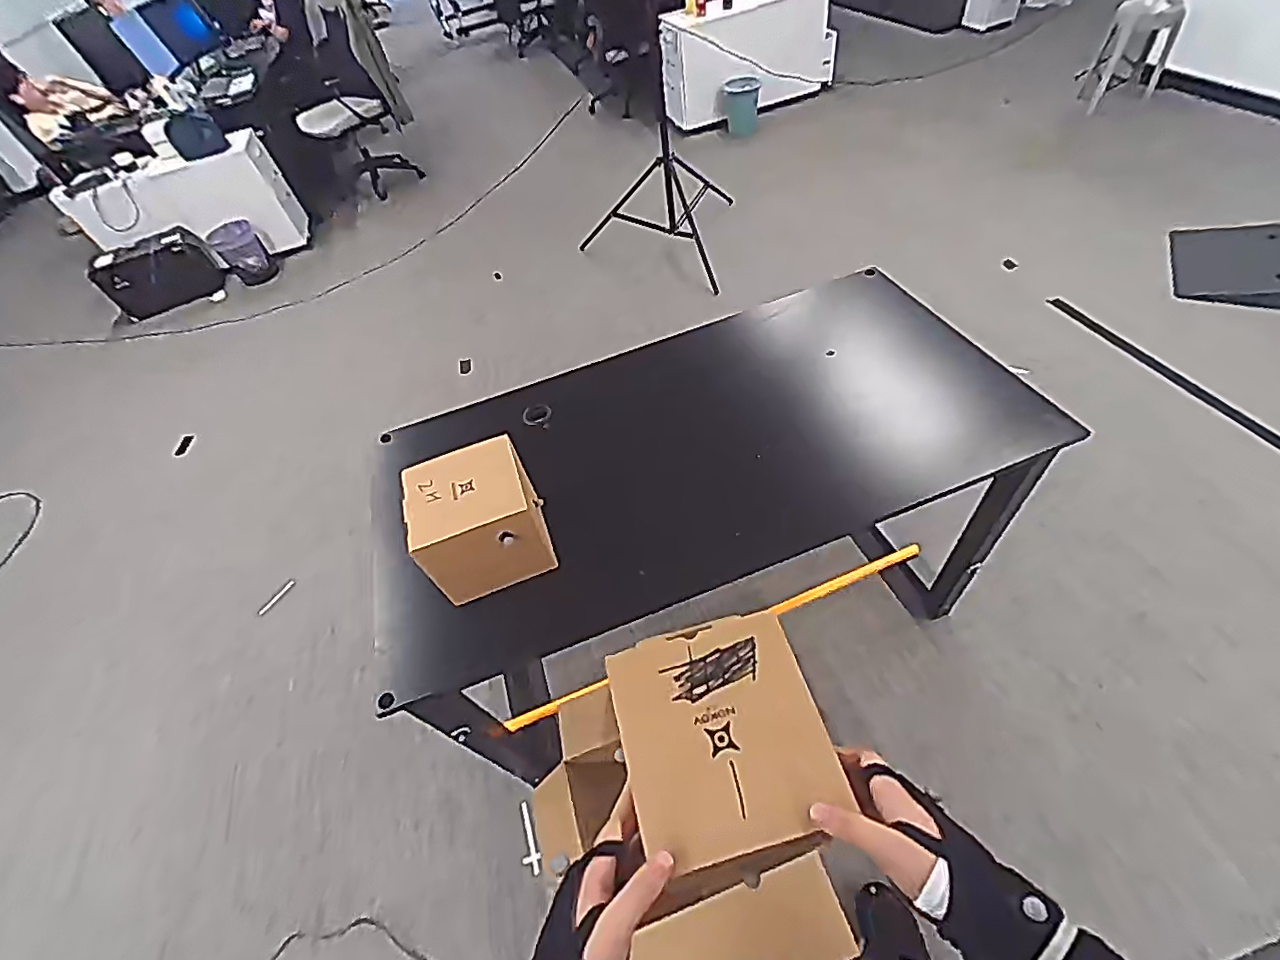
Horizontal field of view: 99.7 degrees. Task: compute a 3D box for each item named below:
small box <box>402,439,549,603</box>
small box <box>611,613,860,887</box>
[{"bbox_3d":[-0.255,0.068,0.868,0.179,0.176,0.168,-20,50,-7],"label":"small box"},{"bbox_3d":[0.078,0.259,0.515,0.168,0.176,0.179,-16,51,-3],"label":"small box"}]
